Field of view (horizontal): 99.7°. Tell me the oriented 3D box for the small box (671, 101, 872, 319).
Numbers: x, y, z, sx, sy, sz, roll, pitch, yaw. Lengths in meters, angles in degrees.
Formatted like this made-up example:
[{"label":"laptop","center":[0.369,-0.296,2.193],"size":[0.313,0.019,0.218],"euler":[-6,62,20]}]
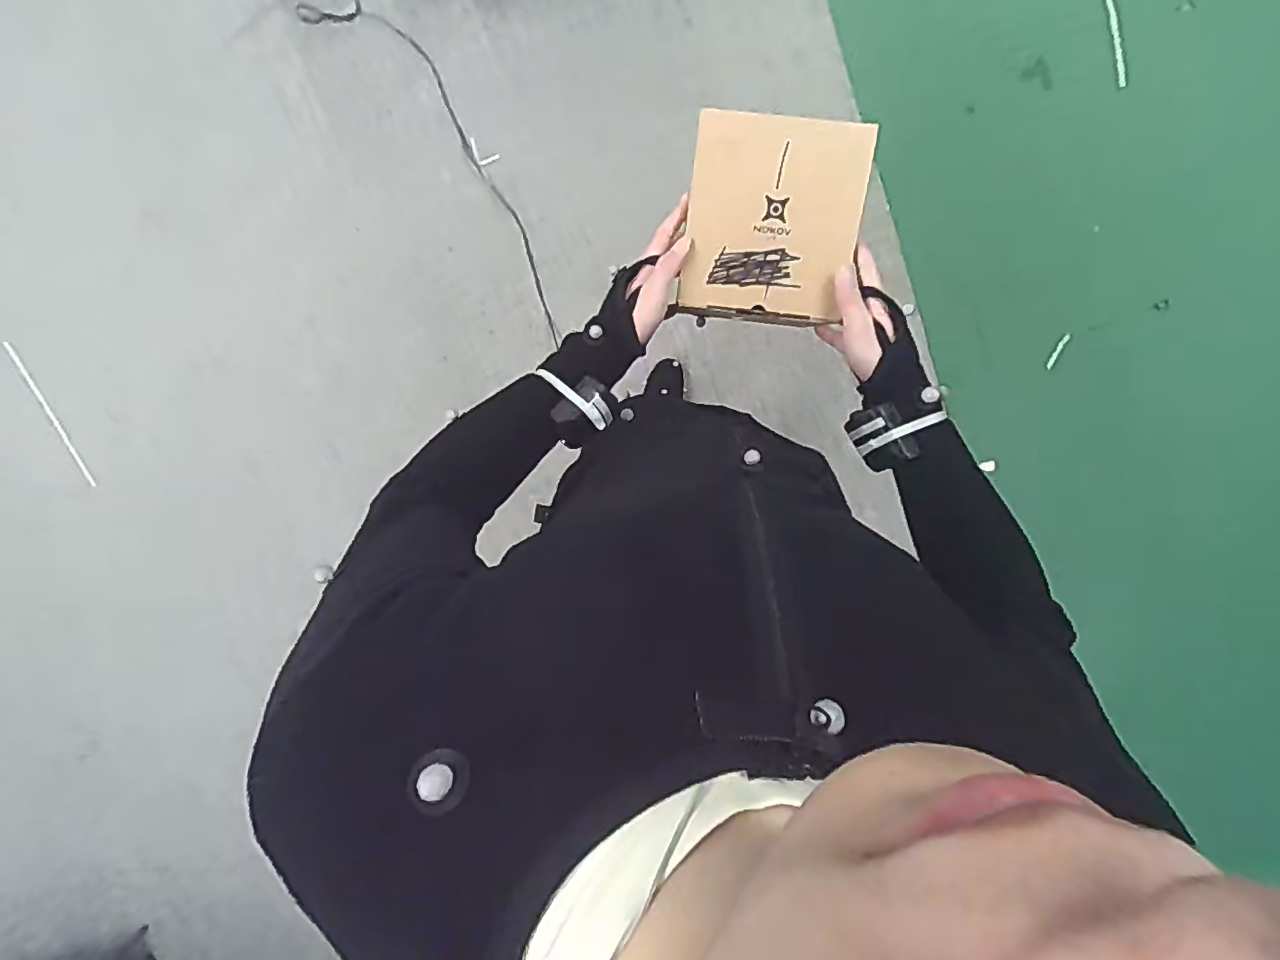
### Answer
[{"label":"small box","center":[0.126,-0.273,0.588],"size":[0.168,0.176,0.179],"euler":[6,104,2]}]
